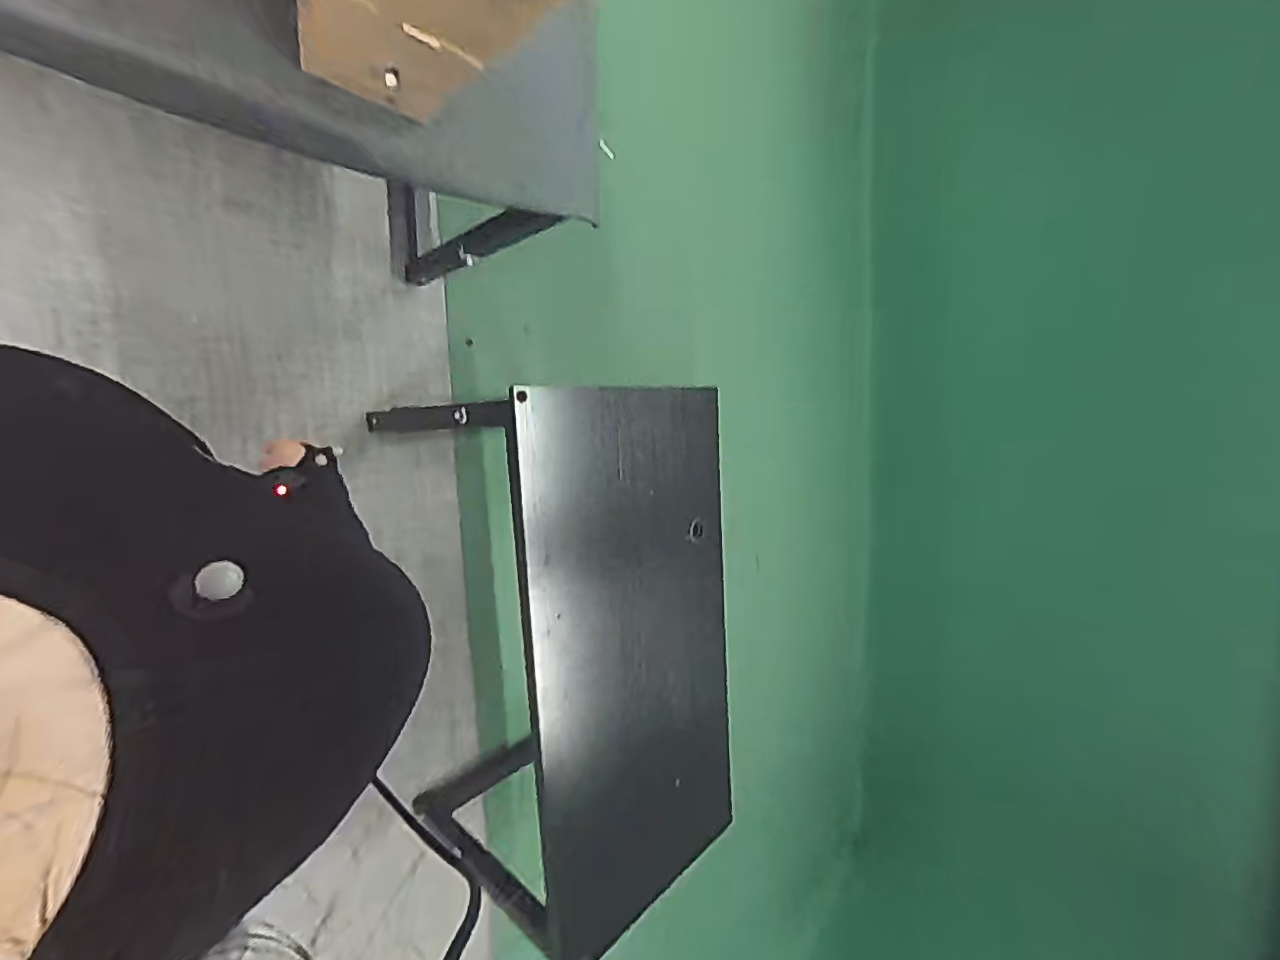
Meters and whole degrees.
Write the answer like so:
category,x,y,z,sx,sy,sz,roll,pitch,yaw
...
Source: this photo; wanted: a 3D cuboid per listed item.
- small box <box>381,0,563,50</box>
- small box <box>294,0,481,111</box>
category,x,y,z,sx,sy,sz,roll,pitch,yaw
small box,-0.188,-0.599,0.561,0.179,0.176,0.168,-7,97,-45
small box,-0.312,-0.604,0.667,0.168,0.176,0.179,-4,95,-46
